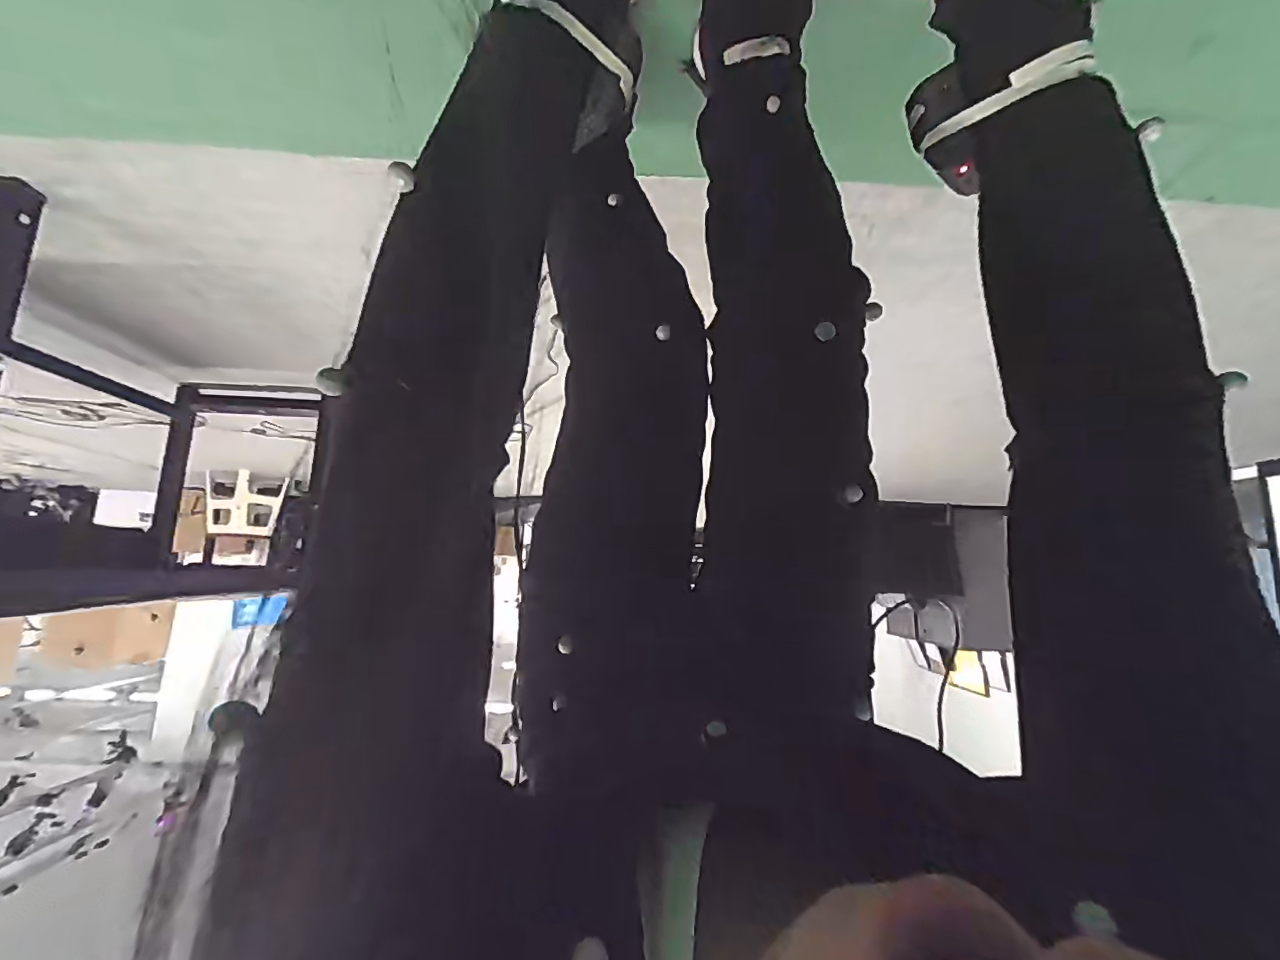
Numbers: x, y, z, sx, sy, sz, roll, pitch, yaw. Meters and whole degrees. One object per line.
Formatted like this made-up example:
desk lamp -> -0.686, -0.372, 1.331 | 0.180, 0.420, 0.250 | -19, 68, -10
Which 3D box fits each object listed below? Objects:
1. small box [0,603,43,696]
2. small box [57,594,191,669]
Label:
small box -> -1.291, 0.318, 1.009 | 0.179, 0.176, 0.168 | 3, 171, 0
small box -> -1.303, 0.379, 1.382 | 0.179, 0.176, 0.168 | 3, 170, -2
